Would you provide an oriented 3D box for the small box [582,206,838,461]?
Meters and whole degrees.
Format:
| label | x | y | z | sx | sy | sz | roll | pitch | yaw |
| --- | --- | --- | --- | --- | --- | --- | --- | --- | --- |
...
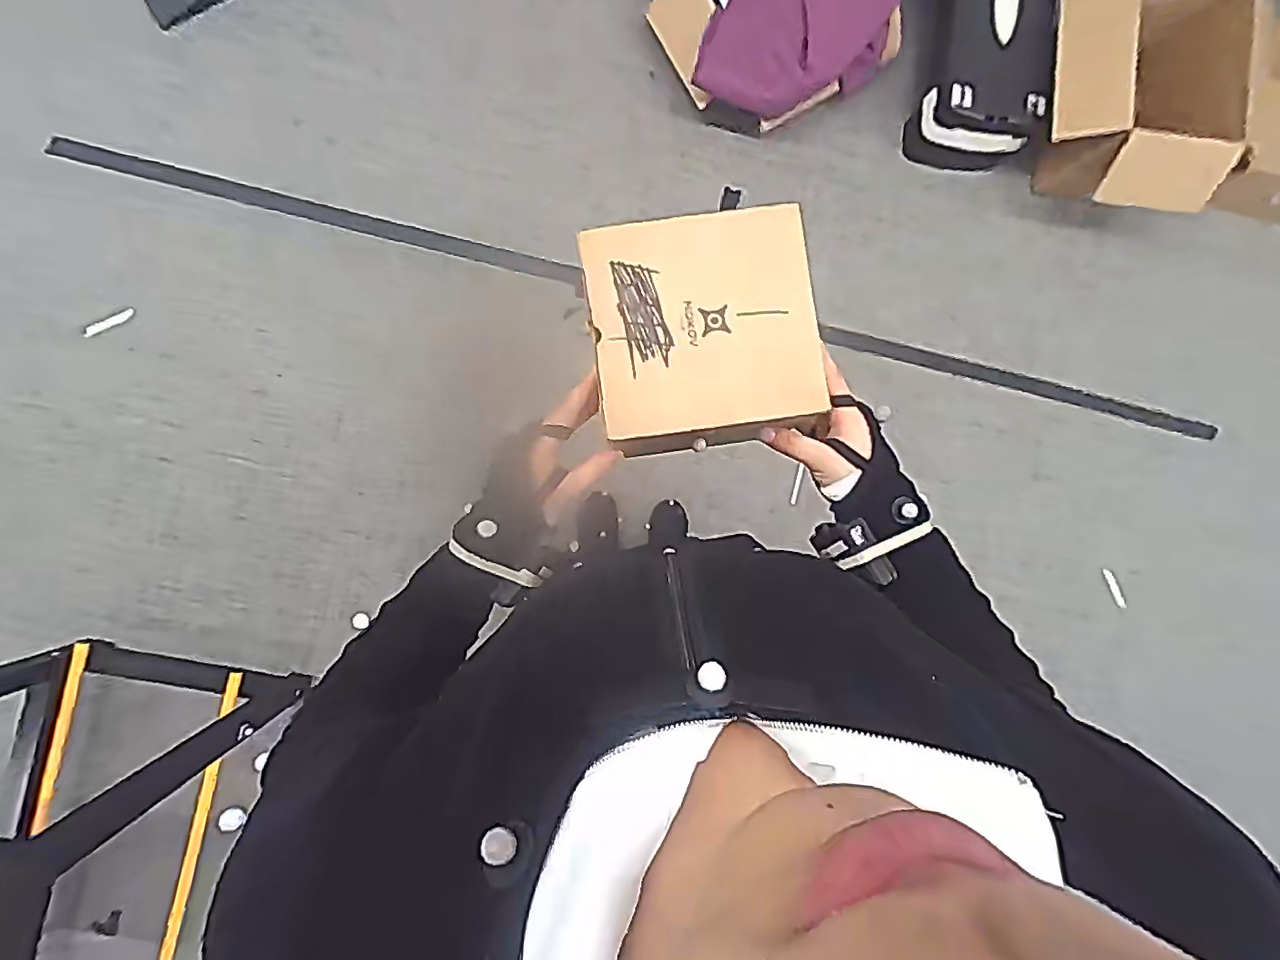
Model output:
| label | x | y | z | sx | sy | sz | roll | pitch | yaw |
| --- | --- | --- | --- | --- | --- | --- | --- | --- | --- |
| small box | 0.051 | -0.112 | 0.485 | 0.179 | 0.176 | 0.168 | -8 | 88 | -2 |
